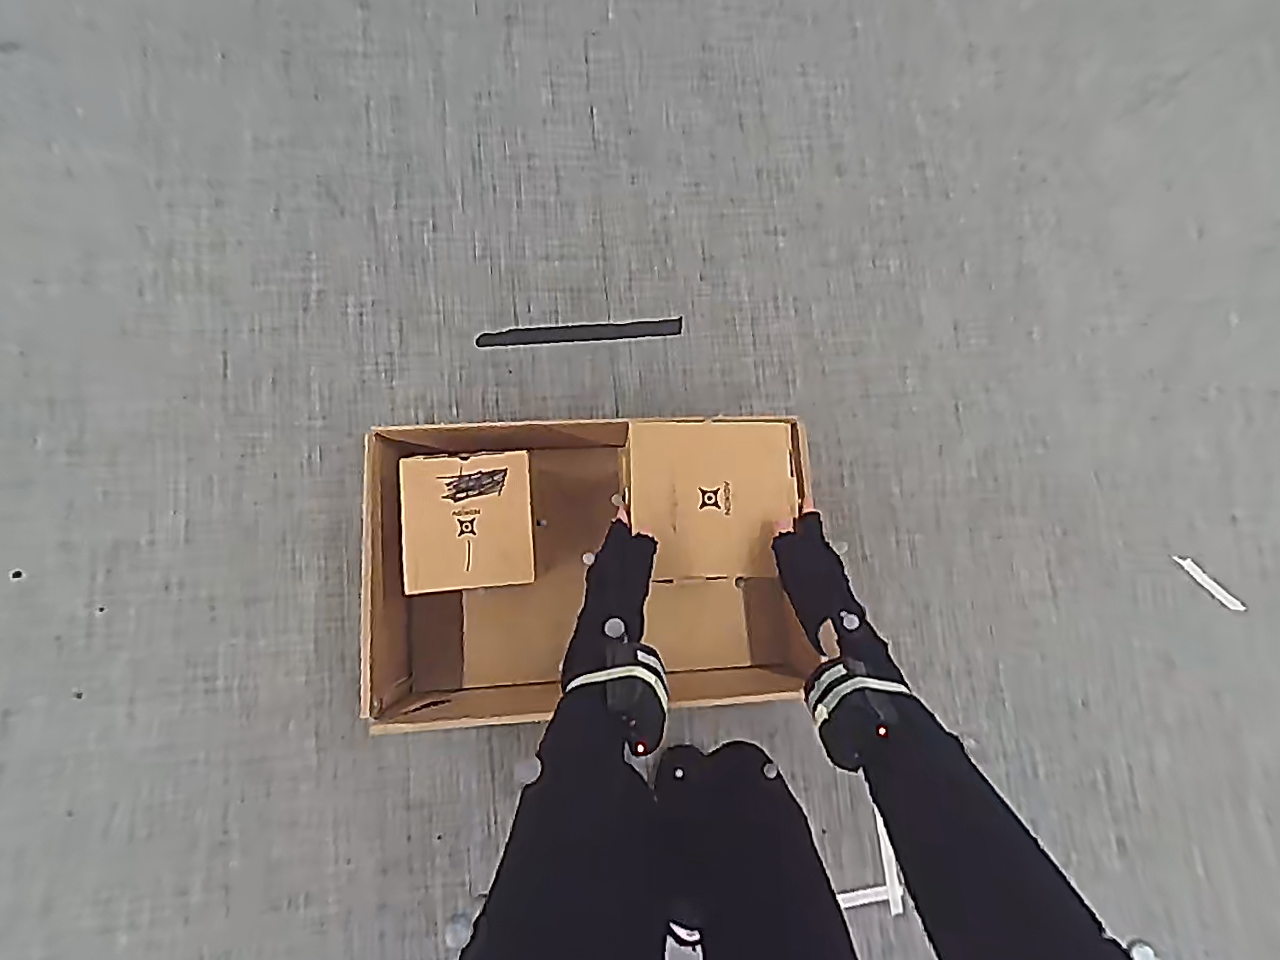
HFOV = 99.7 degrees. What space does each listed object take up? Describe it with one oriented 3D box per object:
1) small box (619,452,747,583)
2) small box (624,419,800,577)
[{"bbox_3d":[0.056,0.053,0.801,0.168,0.176,0.179,-2,84,-5],"label":"small box"},{"bbox_3d":[0.073,0.027,0.641,0.179,0.176,0.168,-1,81,-3],"label":"small box"}]
